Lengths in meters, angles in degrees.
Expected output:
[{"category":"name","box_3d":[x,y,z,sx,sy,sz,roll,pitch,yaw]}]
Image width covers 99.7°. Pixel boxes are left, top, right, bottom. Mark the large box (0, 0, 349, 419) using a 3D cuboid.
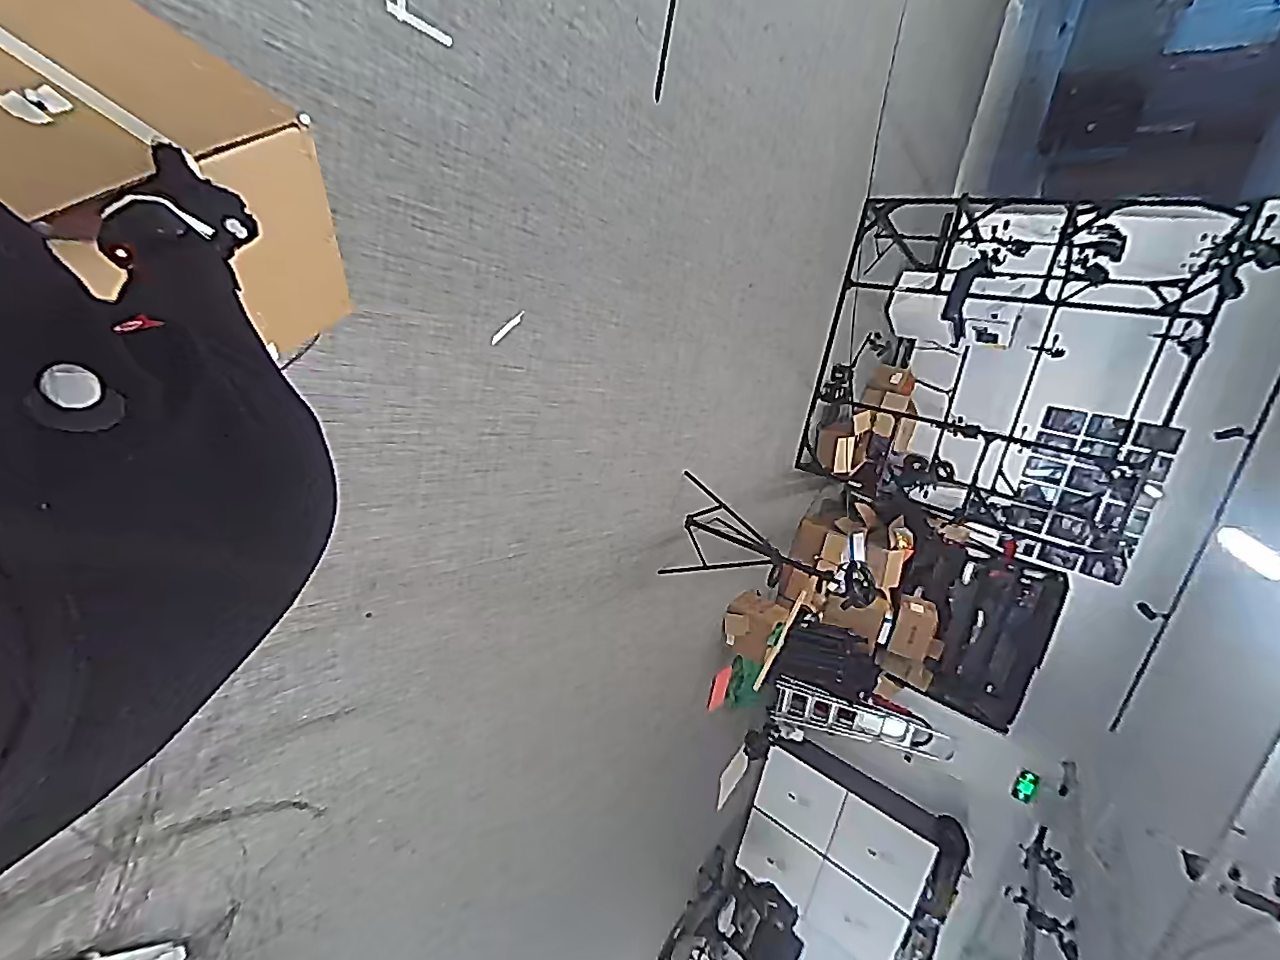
[{"category":"large box","box_3d":[-0.676,-0.359,0.708,0.320,0.408,0.320,-53,177,-33]}]
